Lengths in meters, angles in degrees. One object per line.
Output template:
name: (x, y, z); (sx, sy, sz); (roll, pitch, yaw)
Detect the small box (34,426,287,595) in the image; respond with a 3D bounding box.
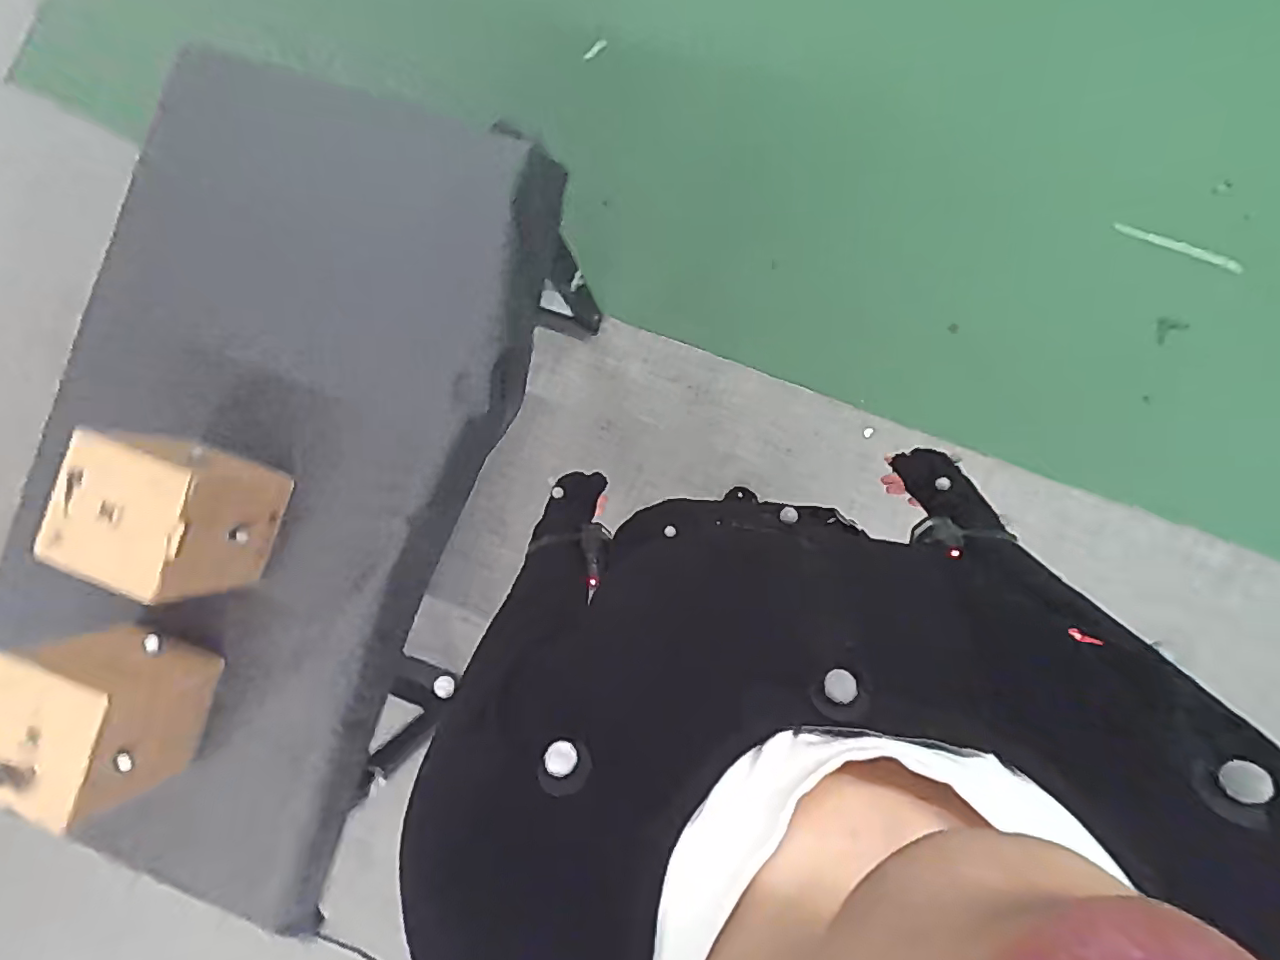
small box: (-0.633, 0.036, 0.738); (0.179, 0.176, 0.168); (20, 91, 5)

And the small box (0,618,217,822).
small box: (-0.735, 0.311, 0.740); (0.168, 0.176, 0.179); (18, 89, 5)
